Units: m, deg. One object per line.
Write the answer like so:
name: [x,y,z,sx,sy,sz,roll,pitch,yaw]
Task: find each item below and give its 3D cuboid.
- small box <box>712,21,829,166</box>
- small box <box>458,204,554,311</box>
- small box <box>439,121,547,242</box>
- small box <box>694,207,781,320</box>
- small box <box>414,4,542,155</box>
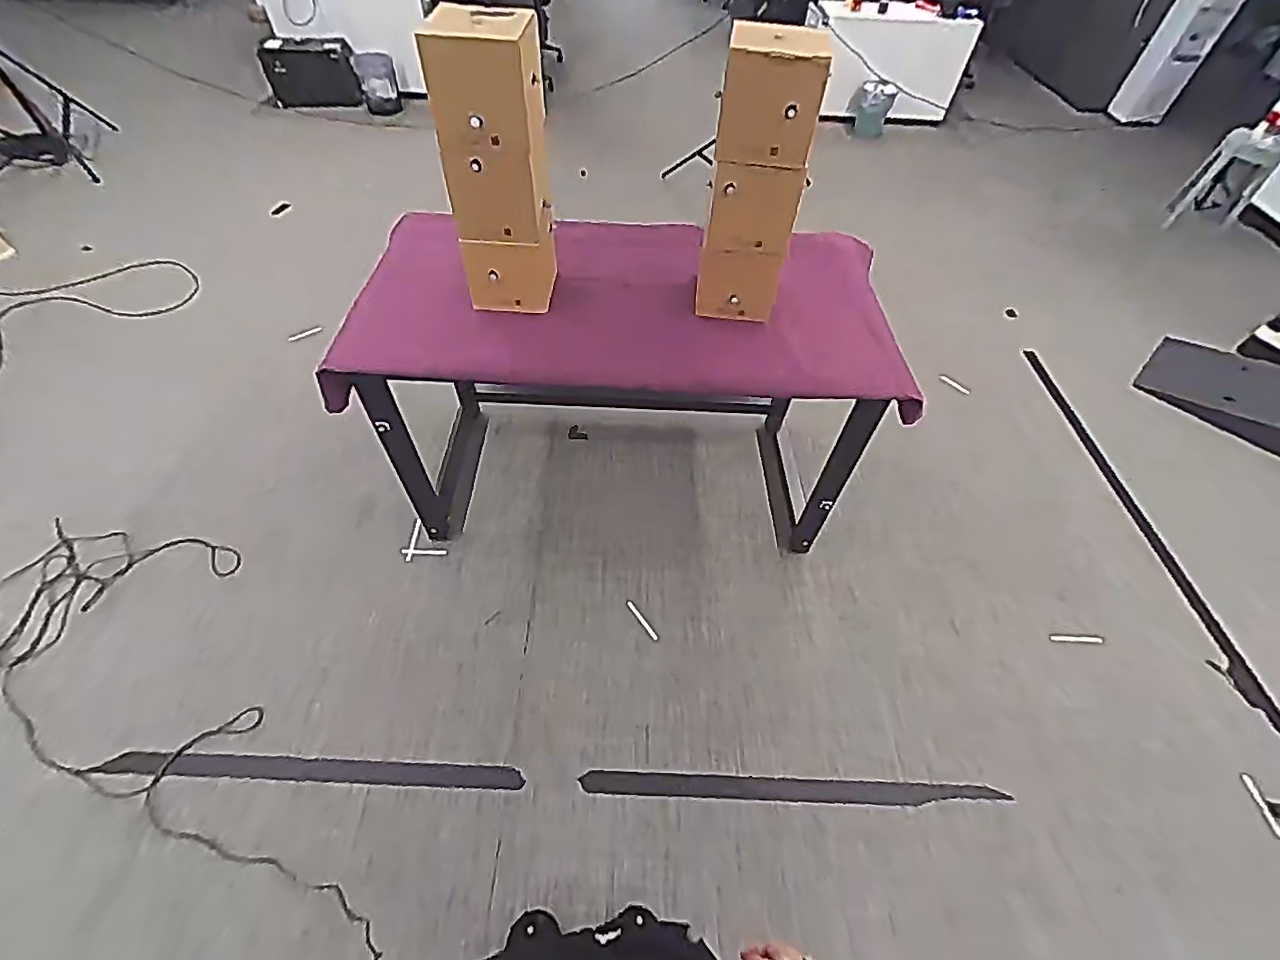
small box: [0.225,-0.685,0.963,0.168,0.176,0.179,8,51,2]
small box: [-0.288,-0.496,1.205,0.168,0.176,0.179,3,52,-1]
small box: [-0.281,-0.601,1.079,0.168,0.176,0.179,2,51,-1]
small box: [0.215,-0.490,1.225,0.168,0.176,0.179,6,52,3]
small box: [-0.270,-0.700,0.948,0.168,0.176,0.179,3,53,-1]
